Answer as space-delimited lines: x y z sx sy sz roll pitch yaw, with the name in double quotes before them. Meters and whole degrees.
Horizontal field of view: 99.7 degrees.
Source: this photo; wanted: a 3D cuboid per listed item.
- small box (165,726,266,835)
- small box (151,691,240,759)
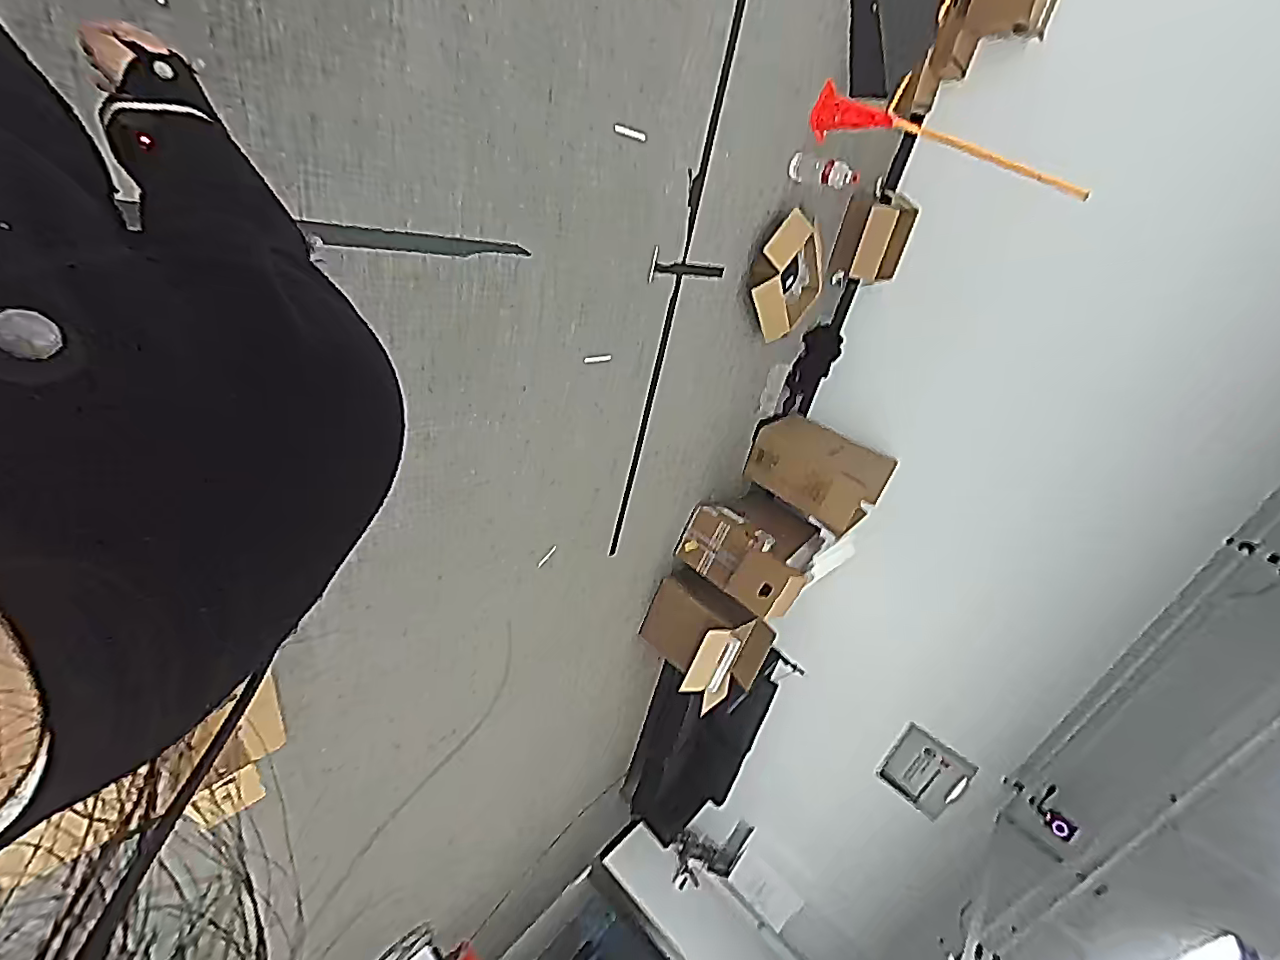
"small box" -1.190 0.837 1.520 0.168 0.176 0.179 -25 138 -42
"small box" -1.308 0.757 1.602 0.168 0.176 0.179 -24 136 -43
